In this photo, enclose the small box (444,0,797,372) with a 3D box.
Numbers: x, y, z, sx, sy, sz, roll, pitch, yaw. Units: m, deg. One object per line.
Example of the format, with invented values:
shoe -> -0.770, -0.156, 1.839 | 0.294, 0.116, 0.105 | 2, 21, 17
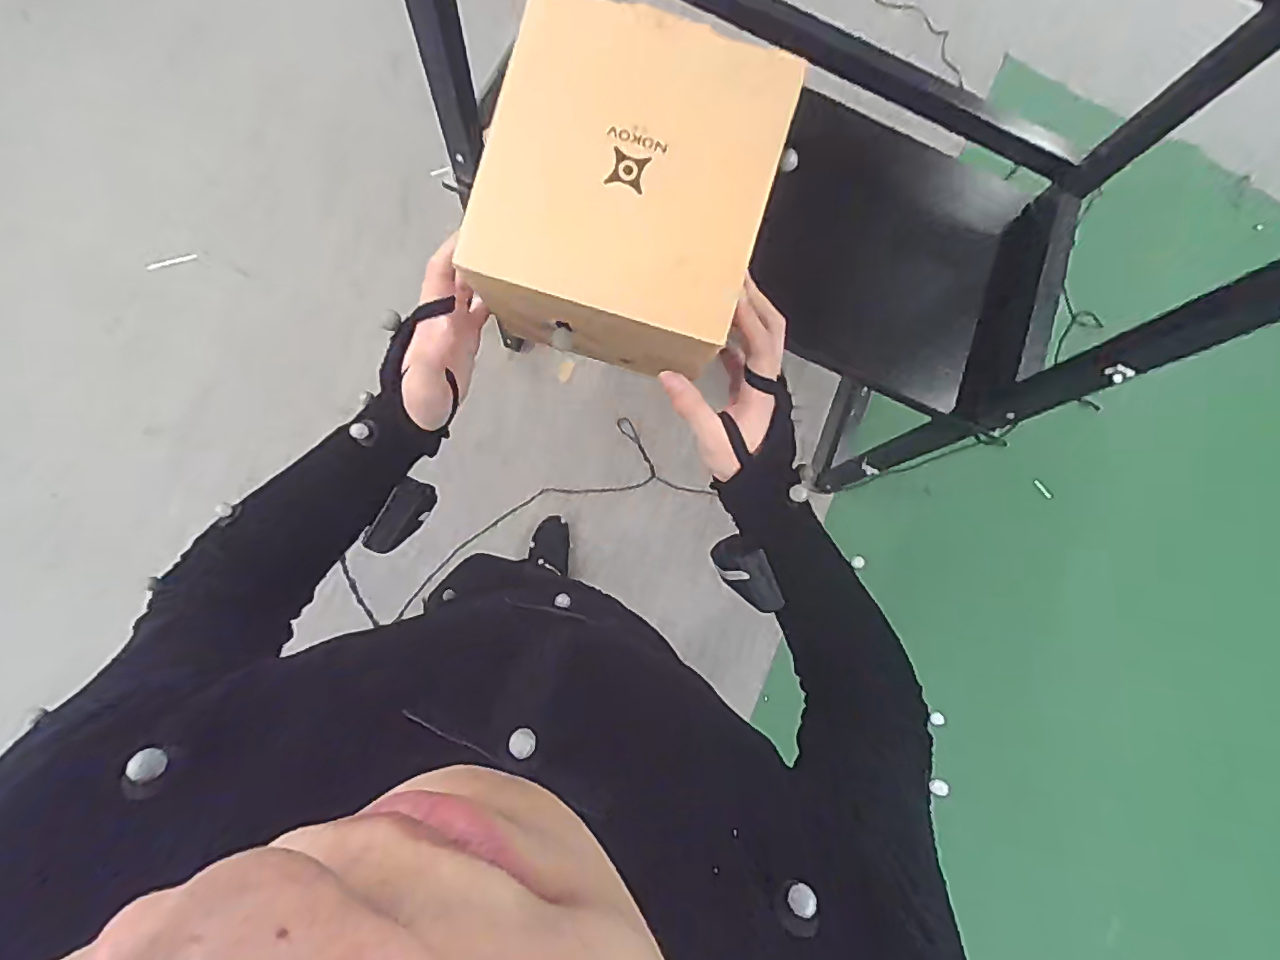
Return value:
small box -> -0.012, -0.190, 0.386 | 0.168, 0.176, 0.179 | 16, 90, -1
